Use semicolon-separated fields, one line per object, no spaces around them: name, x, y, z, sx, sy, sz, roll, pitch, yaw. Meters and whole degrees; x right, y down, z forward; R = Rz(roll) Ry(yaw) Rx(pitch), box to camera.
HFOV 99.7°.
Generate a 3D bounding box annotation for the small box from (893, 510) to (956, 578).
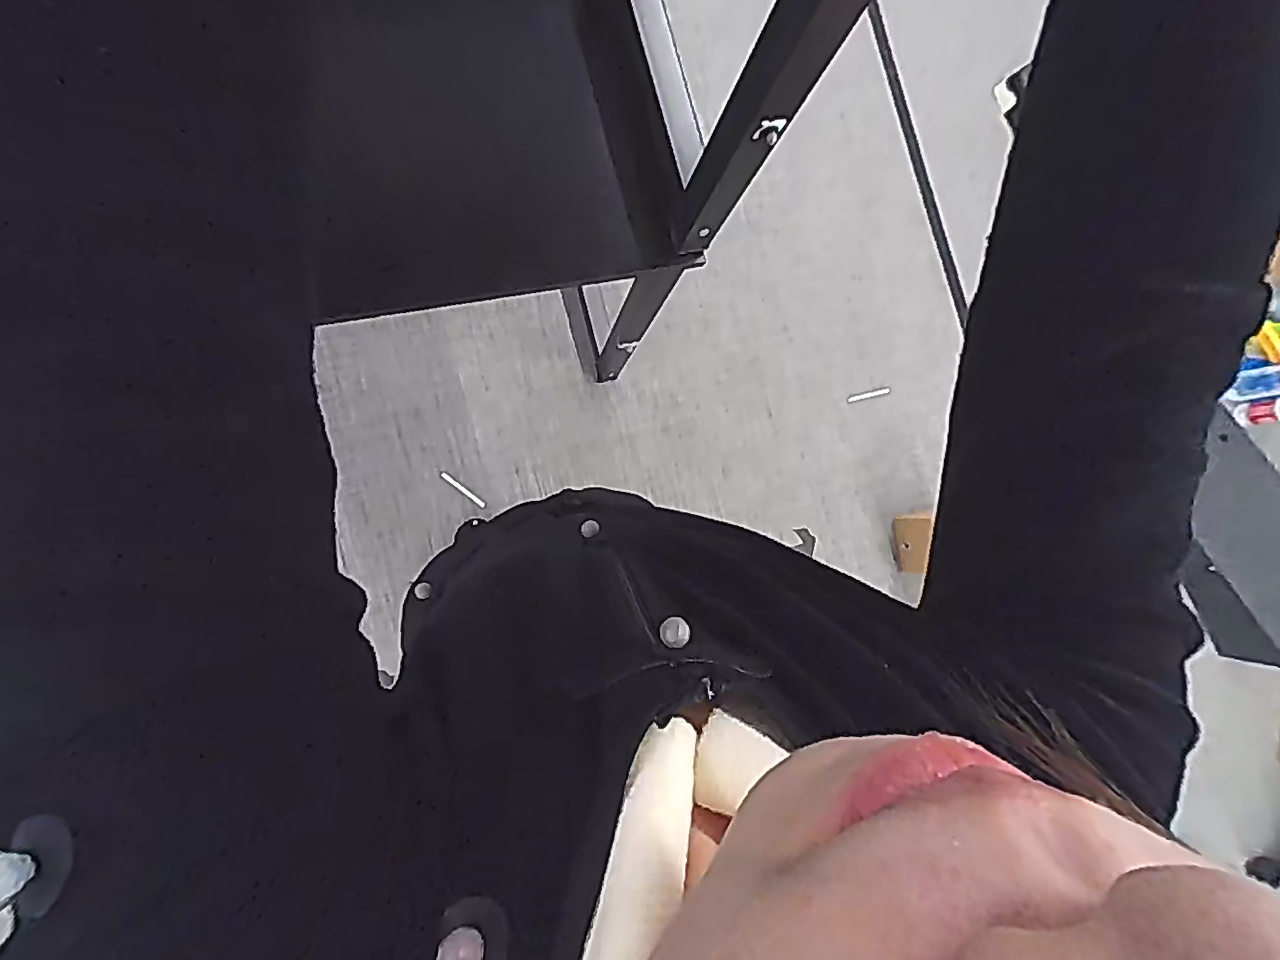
small box;0.902;0.188;1.640;0.168;0.176;0.179;-9;89;-14
